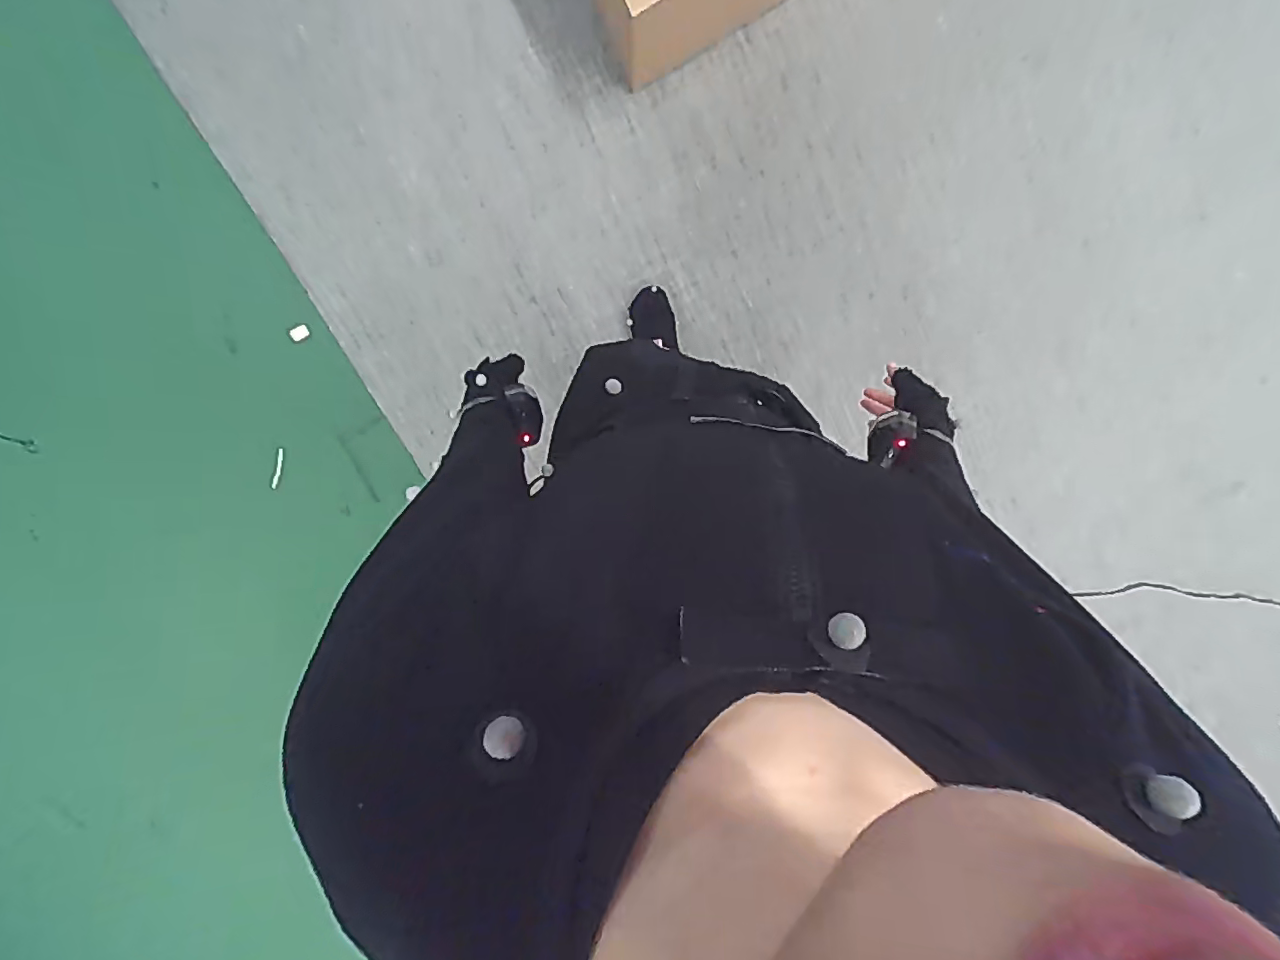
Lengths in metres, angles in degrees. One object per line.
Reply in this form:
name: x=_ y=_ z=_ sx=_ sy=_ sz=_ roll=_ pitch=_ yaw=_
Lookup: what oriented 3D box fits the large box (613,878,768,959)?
large box: x=0.133 y=1.391 z=1.520 sx=0.408 sy=0.320 sz=0.320 roll=8 pitch=107 yaw=-2
